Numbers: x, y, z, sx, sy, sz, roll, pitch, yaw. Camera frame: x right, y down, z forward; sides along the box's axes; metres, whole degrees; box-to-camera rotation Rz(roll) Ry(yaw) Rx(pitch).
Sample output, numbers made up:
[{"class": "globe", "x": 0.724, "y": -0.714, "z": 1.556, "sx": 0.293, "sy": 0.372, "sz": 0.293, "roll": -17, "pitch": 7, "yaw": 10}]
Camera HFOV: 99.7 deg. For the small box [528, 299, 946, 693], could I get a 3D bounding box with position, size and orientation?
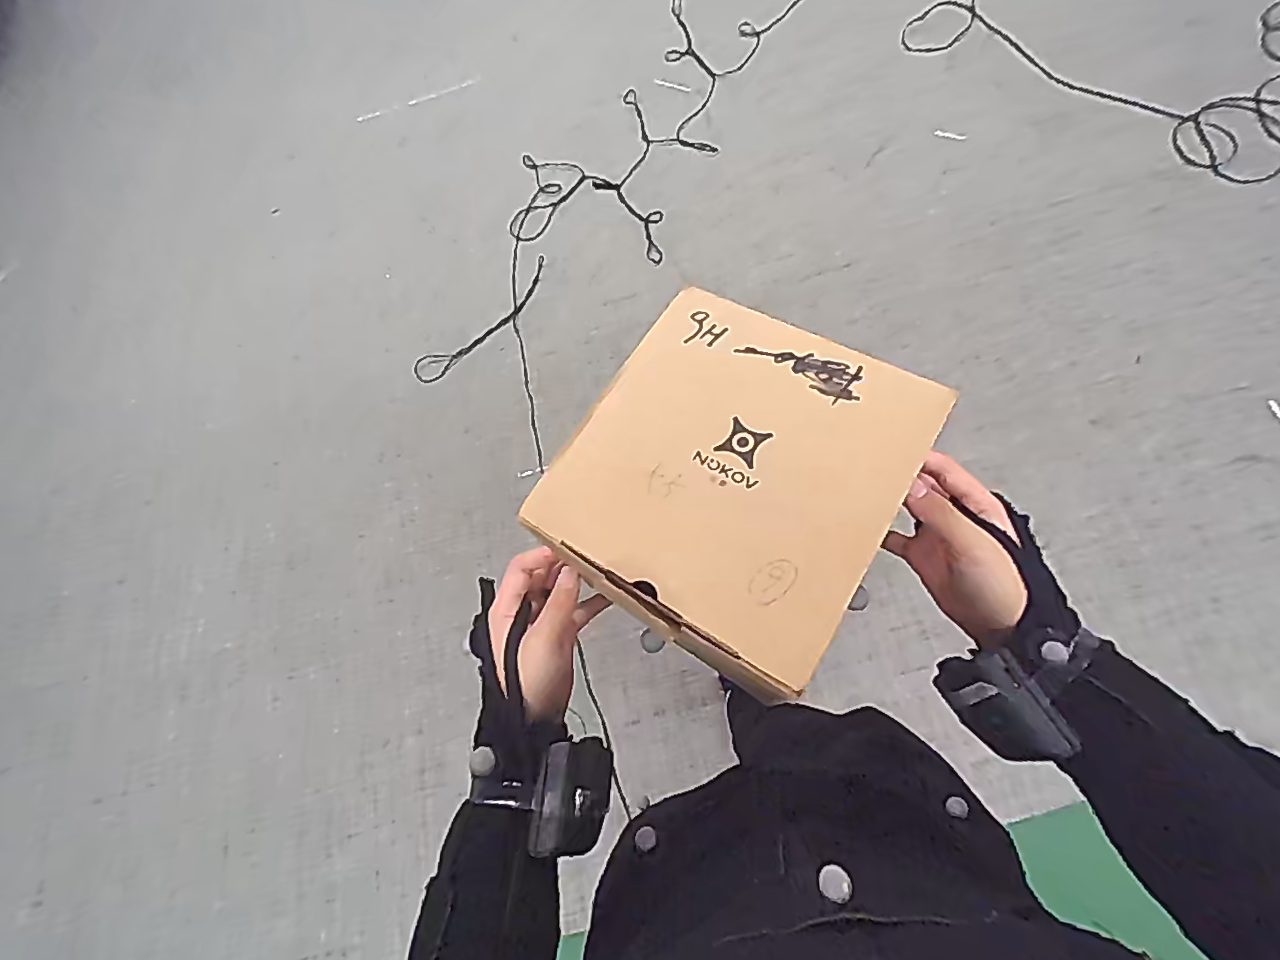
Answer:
[{"class": "small box", "x": 0.062, "y": 0.023, "z": 0.363, "sx": 0.168, "sy": 0.176, "sz": 0.179, "roll": 29, "pitch": 75, "yaw": 20}]
